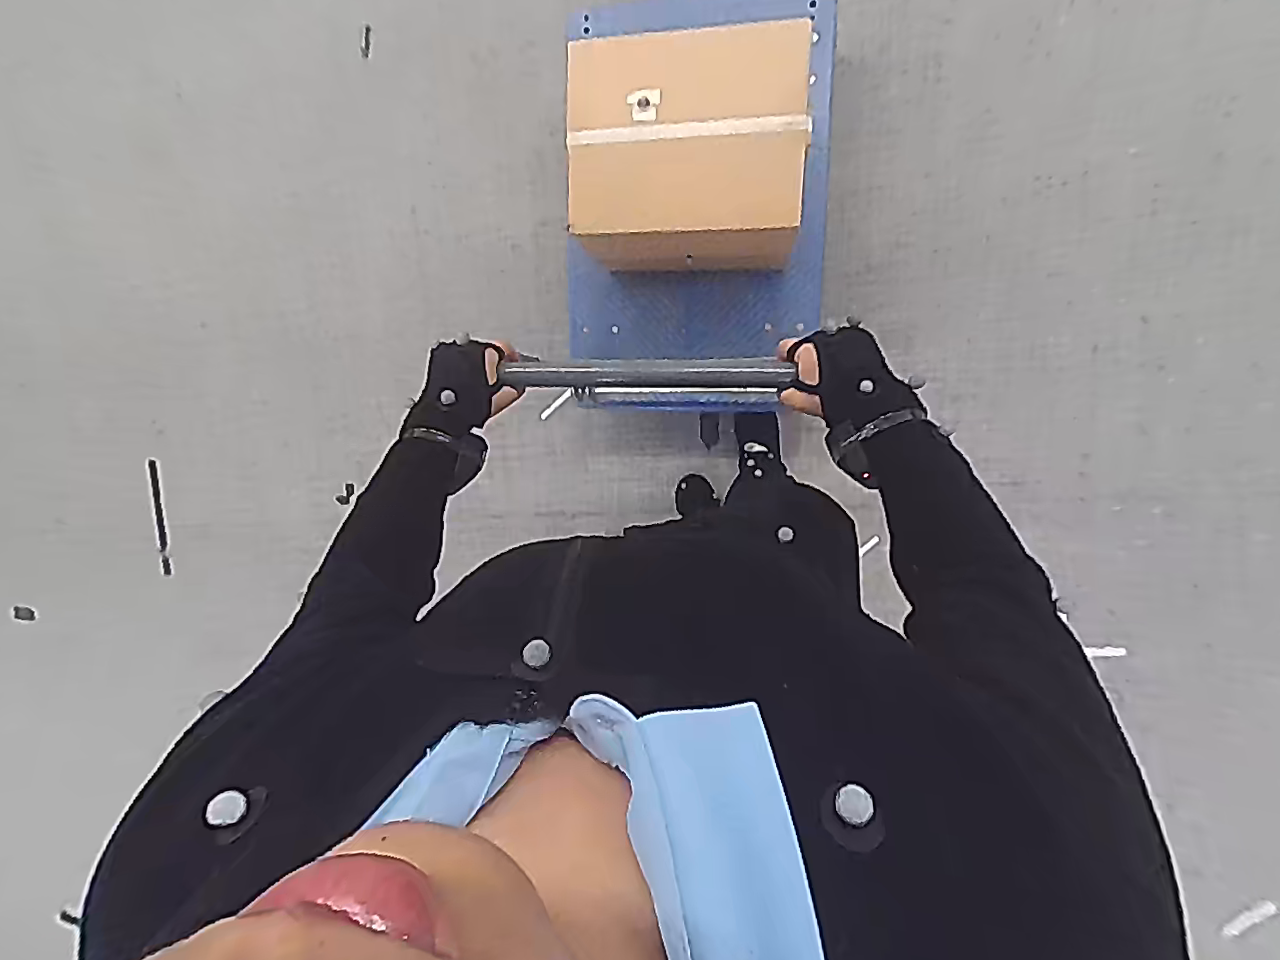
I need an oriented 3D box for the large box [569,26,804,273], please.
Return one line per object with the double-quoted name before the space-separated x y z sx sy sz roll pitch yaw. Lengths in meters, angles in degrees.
"large box" 0.101 -0.606 1.070 0.408 0.320 0.320 3 98 11
